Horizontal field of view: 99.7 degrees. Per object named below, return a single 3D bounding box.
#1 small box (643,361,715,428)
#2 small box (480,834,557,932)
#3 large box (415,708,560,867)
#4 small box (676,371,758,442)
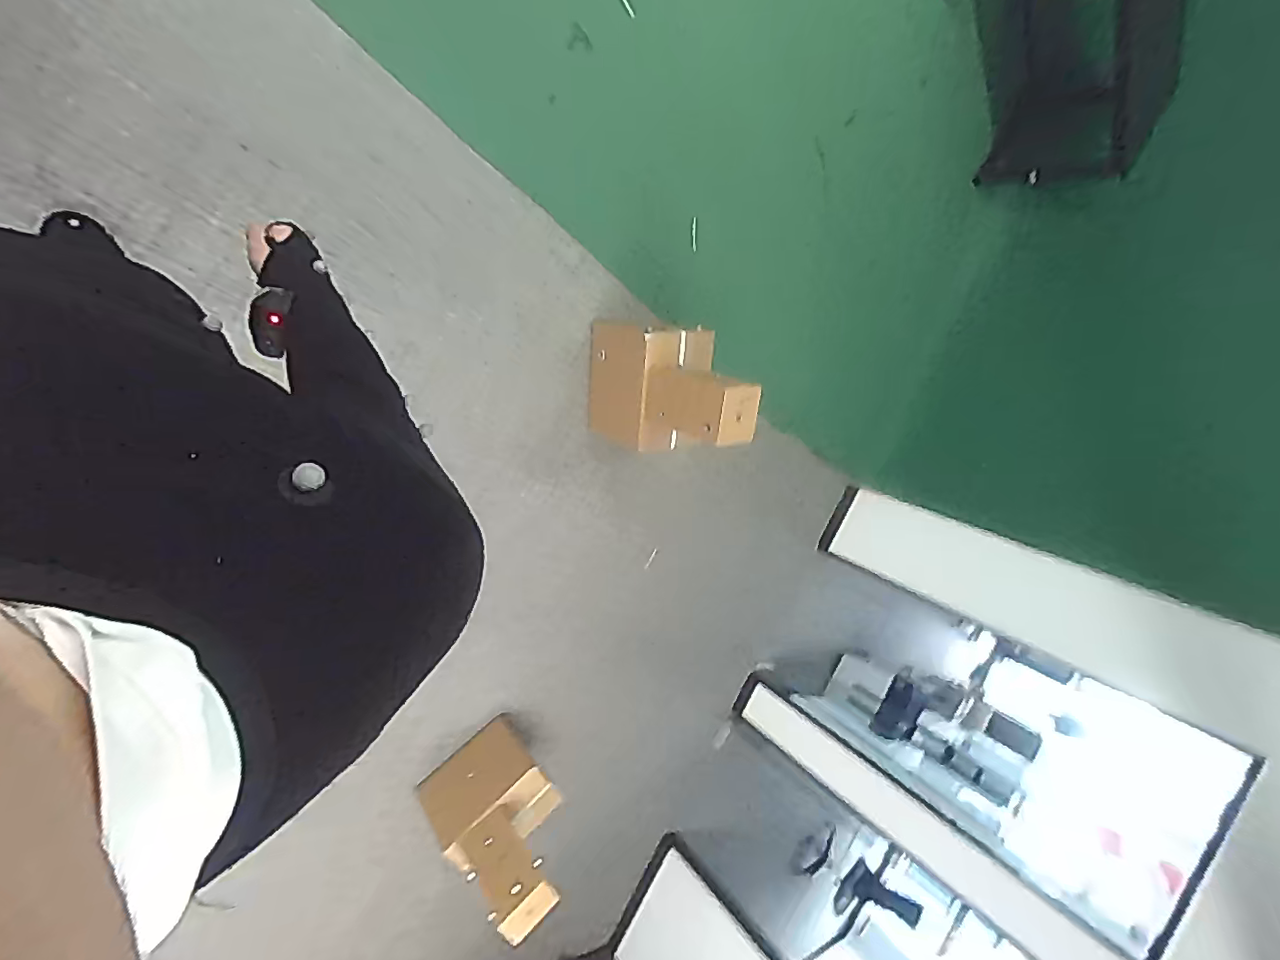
[{"bbox_3d":[0.125,-0.283,1.756,0.168,0.176,0.179,-13,118,-38],"label":"small box"},{"bbox_3d":[-0.417,1.357,1.828,0.179,0.176,0.168,-36,129,-26],"label":"small box"},{"bbox_3d":[-0.610,1.225,2.175,0.408,0.320,0.320,-39,133,-23],"label":"large box"},{"bbox_3d":[0.228,-0.228,1.640,0.168,0.176,0.179,-11,117,-39],"label":"small box"}]
